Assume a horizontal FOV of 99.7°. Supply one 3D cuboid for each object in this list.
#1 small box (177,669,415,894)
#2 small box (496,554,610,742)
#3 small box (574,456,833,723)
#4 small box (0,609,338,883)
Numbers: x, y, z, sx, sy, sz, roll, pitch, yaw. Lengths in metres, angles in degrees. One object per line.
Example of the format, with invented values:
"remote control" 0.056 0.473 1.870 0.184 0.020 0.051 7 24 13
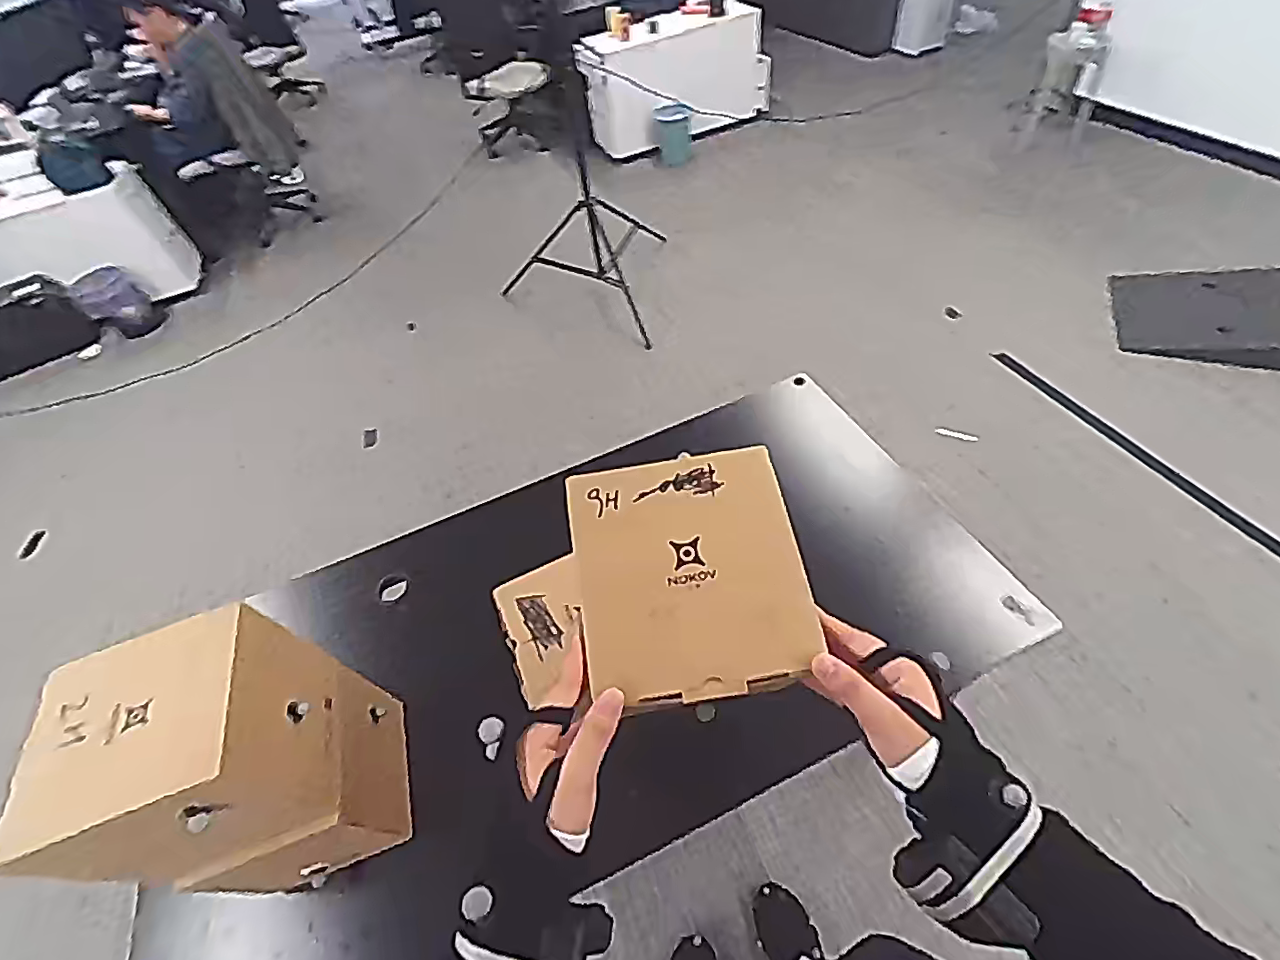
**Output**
"small box" -0.390 0.361 0.645 0.168 0.176 0.179 -21 53 -7
"small box" -0.062 0.213 0.708 0.179 0.176 0.168 -23 52 -11
"small box" 0.043 0.102 0.467 0.168 0.176 0.179 -9 67 -2
"small box" -0.417 0.257 0.519 0.179 0.176 0.168 -21 51 -7
